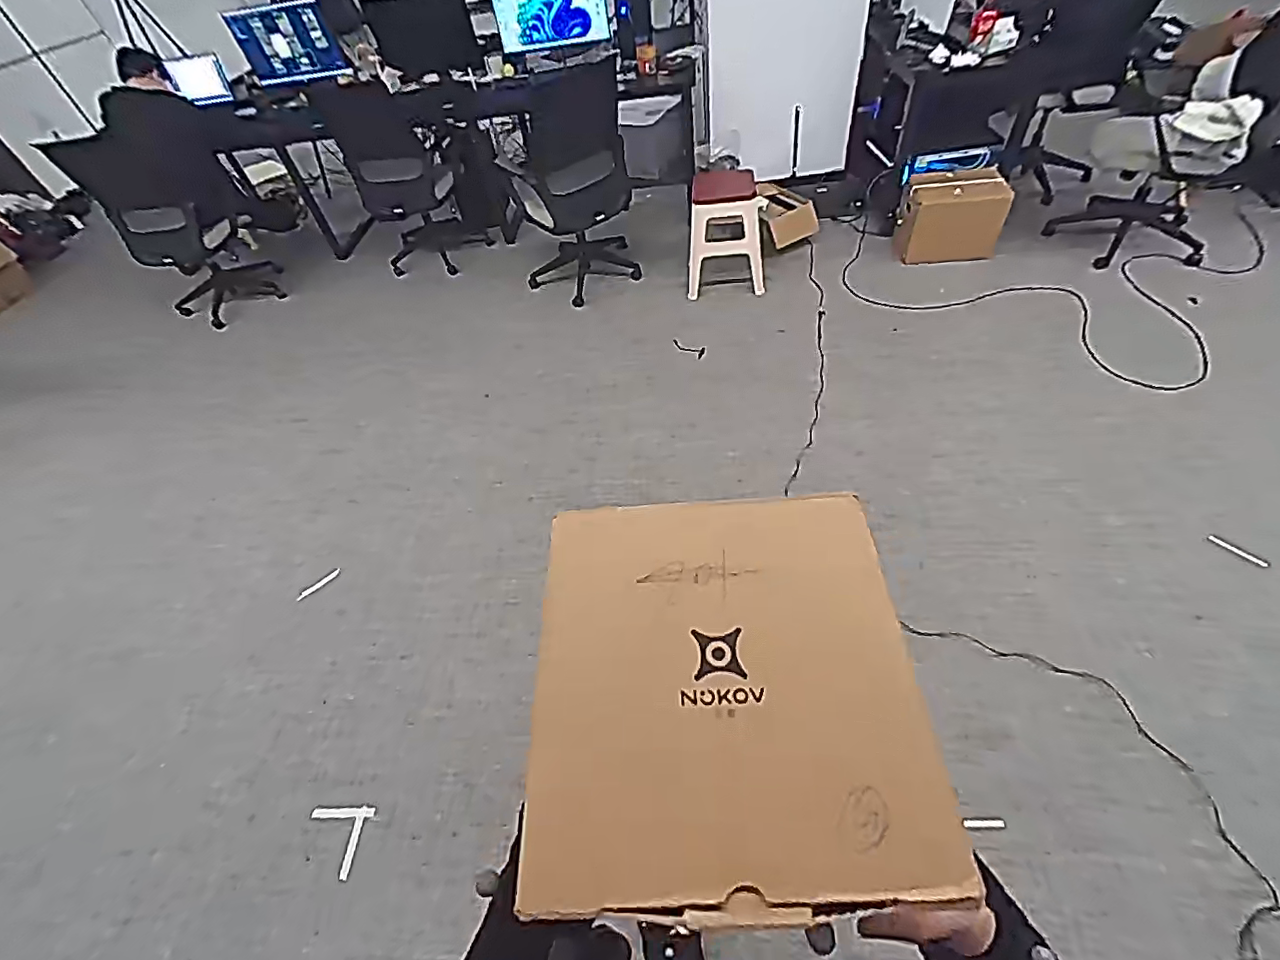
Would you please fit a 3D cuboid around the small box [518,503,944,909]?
[{"bbox_3d":[0.038,0.135,0.317,0.168,0.176,0.179,-4,52,2],"label":"small box"}]
